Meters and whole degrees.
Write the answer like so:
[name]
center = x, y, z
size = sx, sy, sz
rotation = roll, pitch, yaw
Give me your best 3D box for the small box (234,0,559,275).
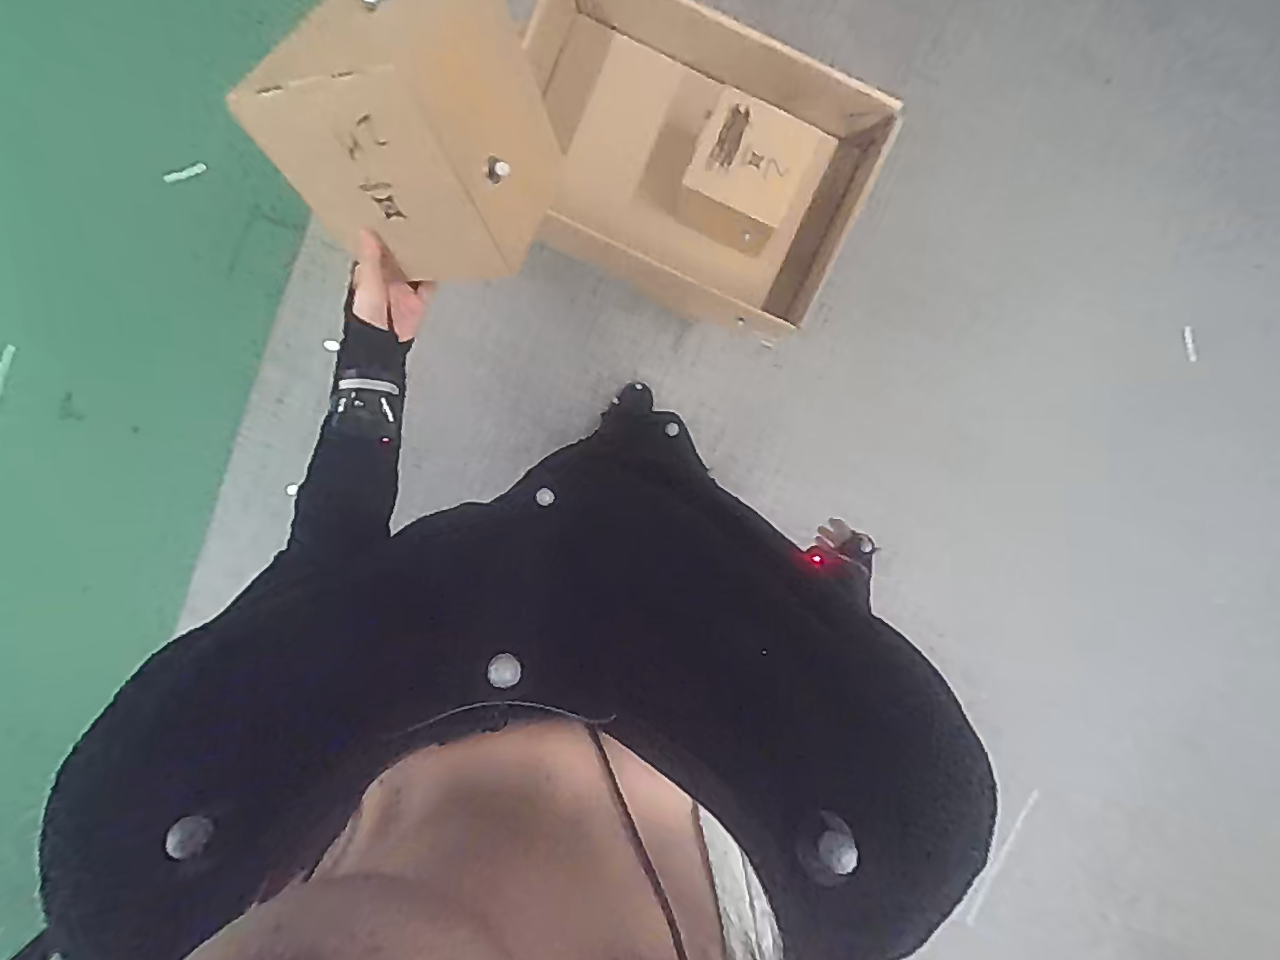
[small box]
center = -0.191, -0.312, 0.486
size = 0.168, 0.179, 0.176
rotation = 4, 60, 17
